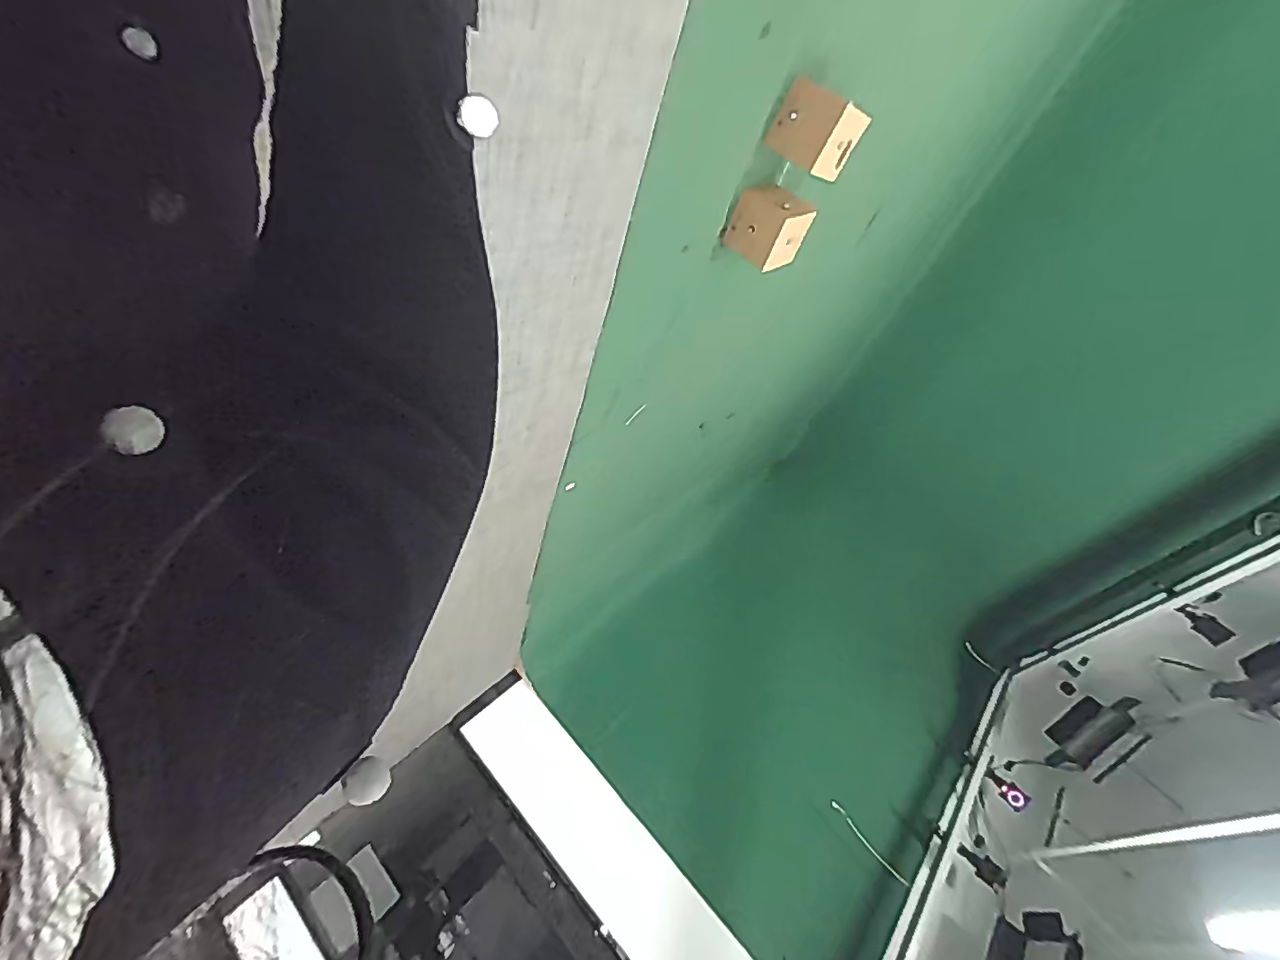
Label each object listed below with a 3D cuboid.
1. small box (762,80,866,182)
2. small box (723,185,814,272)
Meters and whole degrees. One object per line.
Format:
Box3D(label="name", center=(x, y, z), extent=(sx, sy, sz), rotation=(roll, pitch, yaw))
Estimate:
Box3D(label="small box", center=(0.460, -0.926, 1.438), extent=(0.179, 0.176, 0.168), rotation=(-24, 151, -48))
Box3D(label="small box", center=(0.376, -0.753, 1.612), extent=(0.179, 0.176, 0.168), rotation=(-33, 158, -37))
